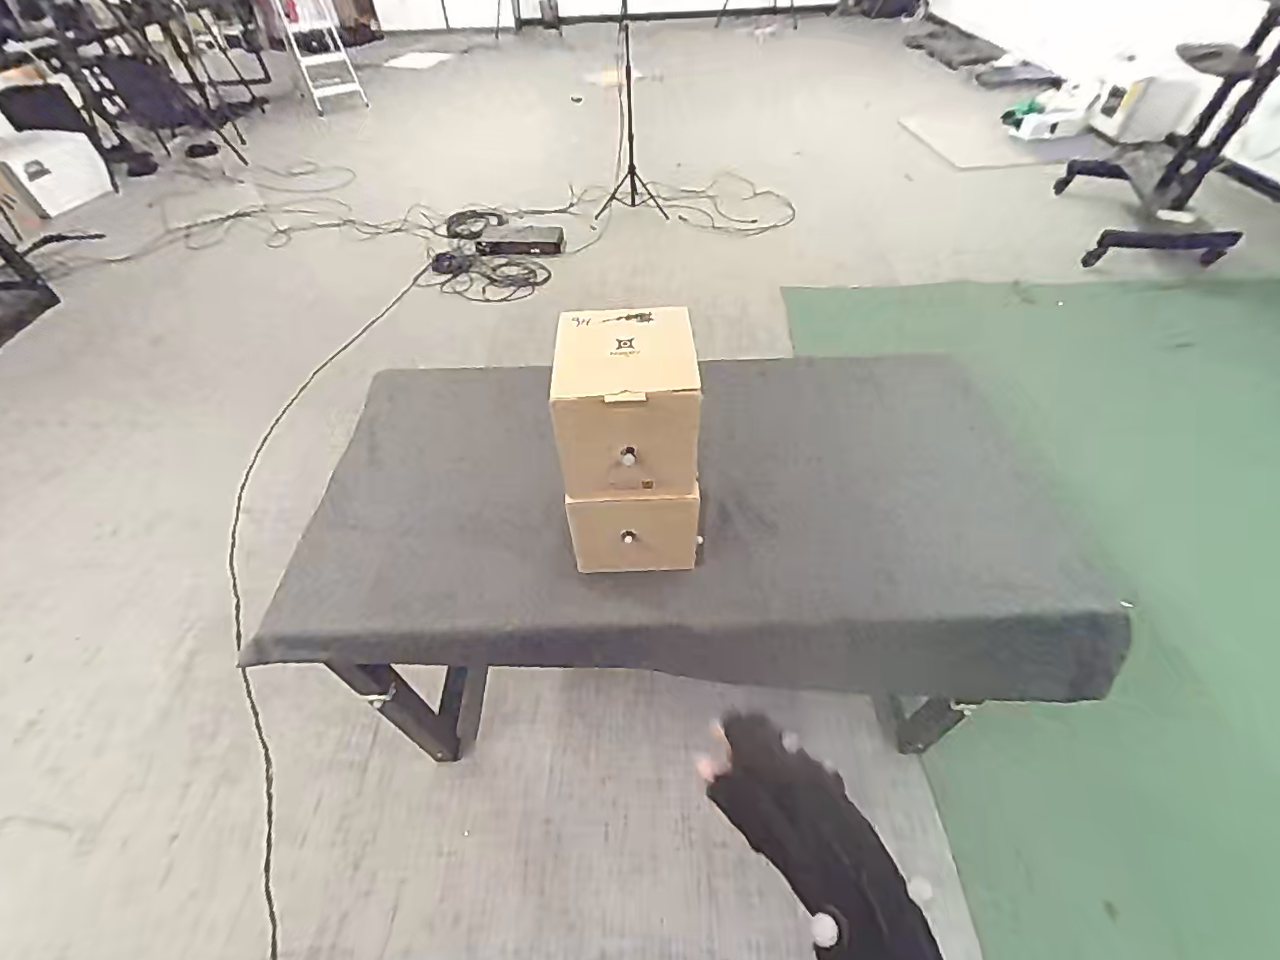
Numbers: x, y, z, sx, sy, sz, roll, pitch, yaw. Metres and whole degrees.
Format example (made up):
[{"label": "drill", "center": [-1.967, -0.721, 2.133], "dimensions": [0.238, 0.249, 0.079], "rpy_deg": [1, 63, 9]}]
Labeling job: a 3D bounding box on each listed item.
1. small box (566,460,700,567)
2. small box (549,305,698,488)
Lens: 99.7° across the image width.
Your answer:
[{"label": "small box", "center": [-0.008, 0.017, 0.807], "dimensions": [0.179, 0.176, 0.168], "rpy_deg": [-3, 48, 1]}, {"label": "small box", "center": [-0.015, -0.101, 0.694], "dimensions": [0.168, 0.176, 0.179], "rpy_deg": [-2, 49, 0]}]
